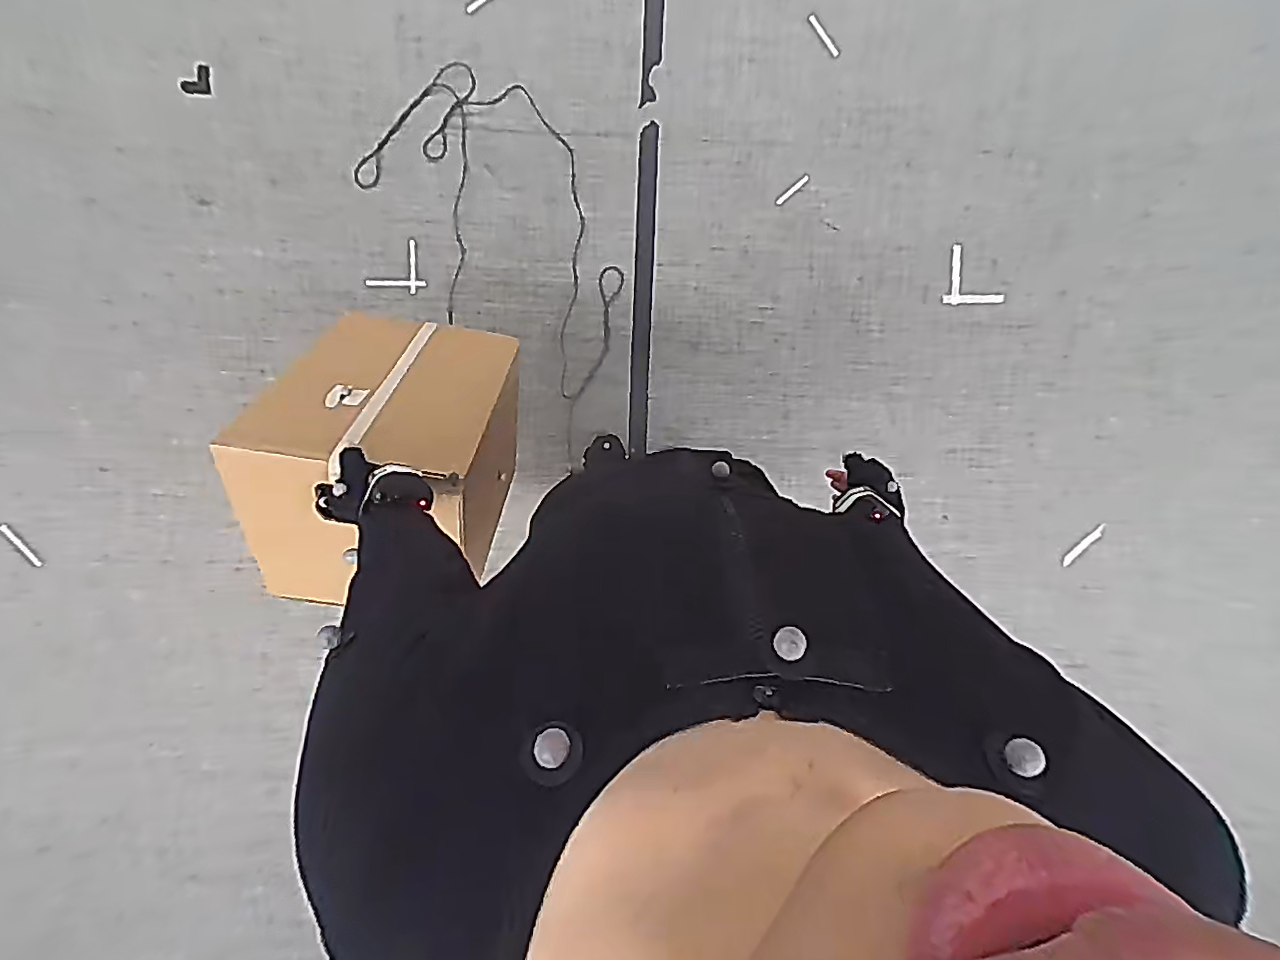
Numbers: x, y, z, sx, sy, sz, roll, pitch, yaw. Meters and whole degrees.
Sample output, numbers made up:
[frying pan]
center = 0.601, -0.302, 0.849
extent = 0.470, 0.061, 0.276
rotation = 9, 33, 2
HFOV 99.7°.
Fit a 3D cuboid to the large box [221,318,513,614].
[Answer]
[large box]
center = -0.410, -0.033, 0.943
extent = 0.320, 0.408, 0.320
rotation = 7, 131, -6
